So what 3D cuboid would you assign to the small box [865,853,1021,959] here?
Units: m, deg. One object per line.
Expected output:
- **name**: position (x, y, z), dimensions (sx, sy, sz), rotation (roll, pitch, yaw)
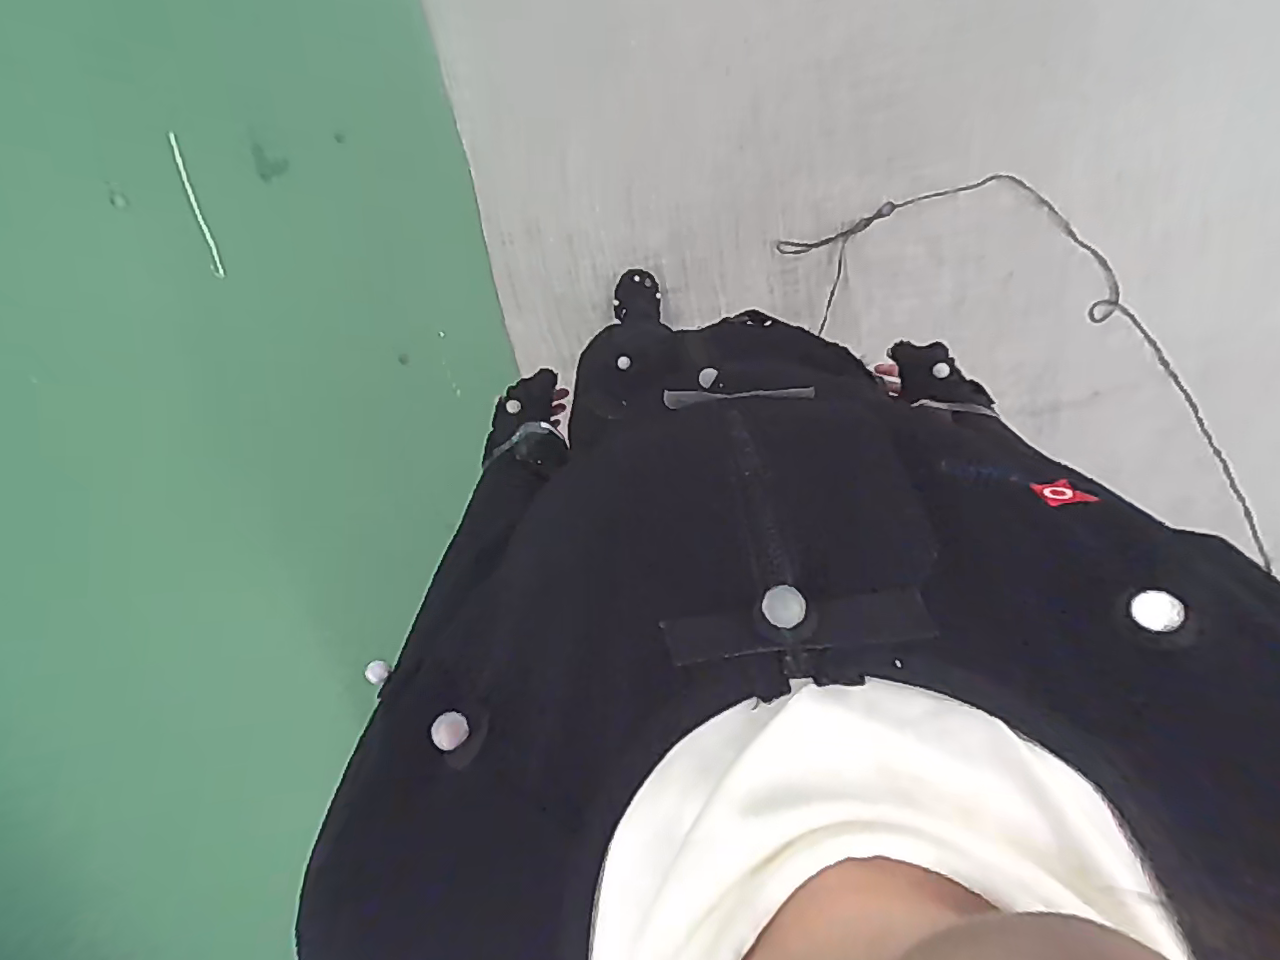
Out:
- **small box**: position (0.464, 0.722, 0.831), dimensions (0.168, 0.176, 0.179), rotation (-12, 108, 5)
